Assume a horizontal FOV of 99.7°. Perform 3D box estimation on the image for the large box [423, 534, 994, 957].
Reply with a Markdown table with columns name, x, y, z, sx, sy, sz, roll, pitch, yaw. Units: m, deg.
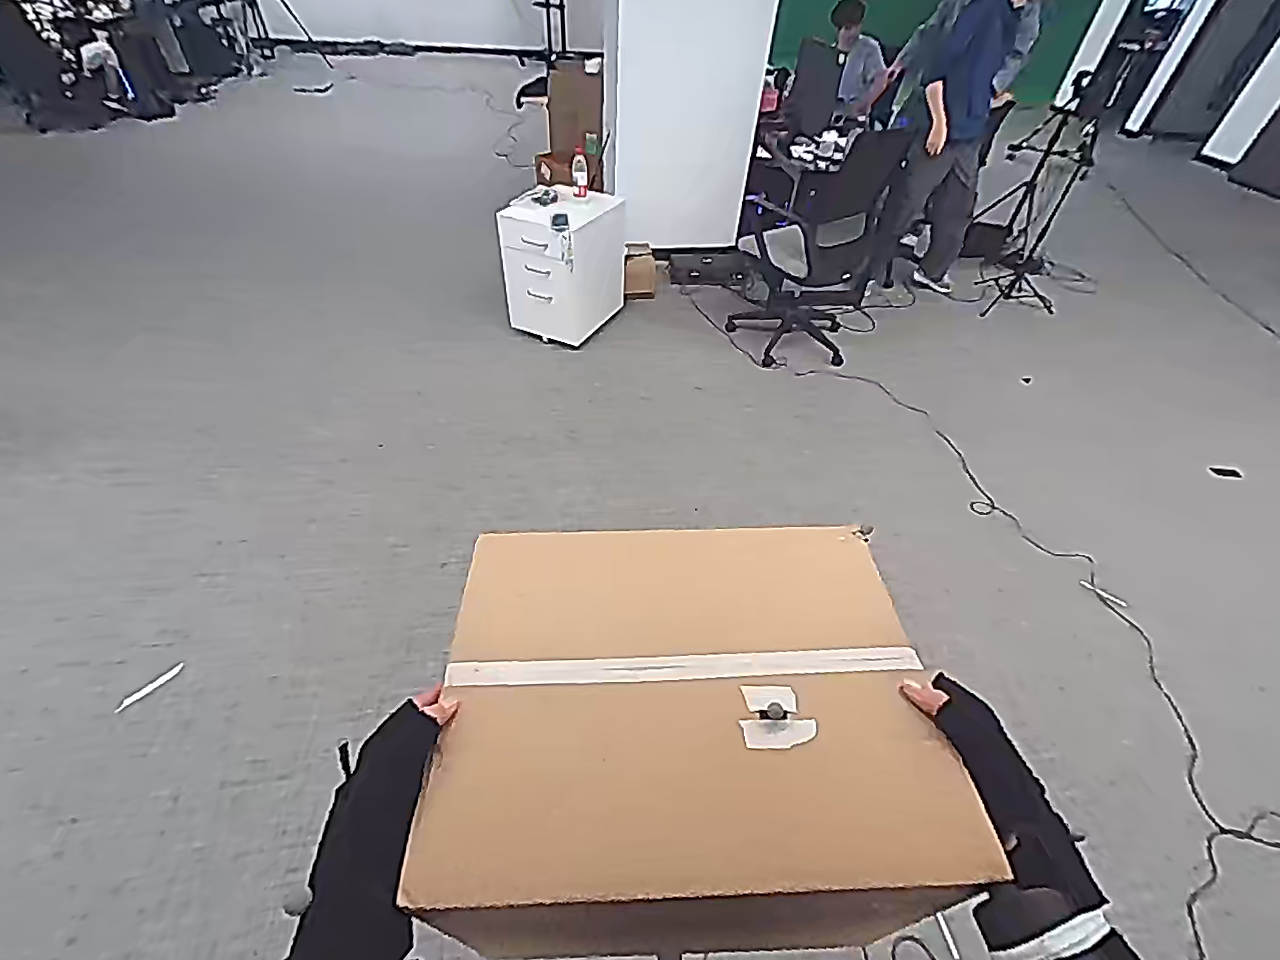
| name | x | y | z | sx | sy | sz | roll | pitch | yaw |
| --- | --- | --- | --- | --- | --- | --- | --- | --- | --- |
| large box | 0.041 | 0.276 | 0.575 | 0.408 | 0.320 | 0.320 | -1 | 45 | -2 |
